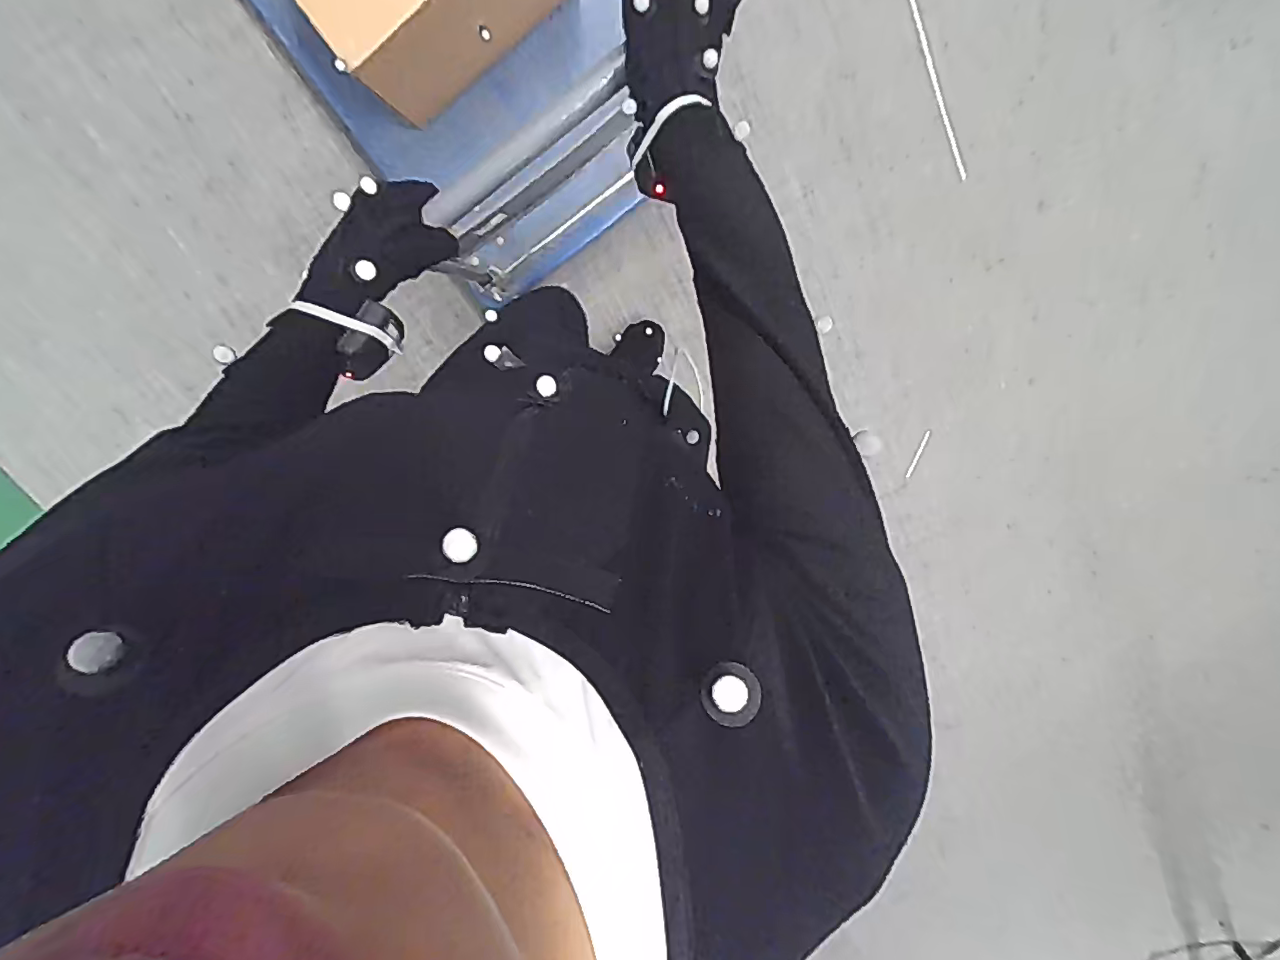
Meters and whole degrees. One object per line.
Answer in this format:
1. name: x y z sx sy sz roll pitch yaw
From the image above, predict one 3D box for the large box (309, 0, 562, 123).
1. large box: -0.345 -0.882 0.864 0.408 0.320 0.320 -35 107 10
